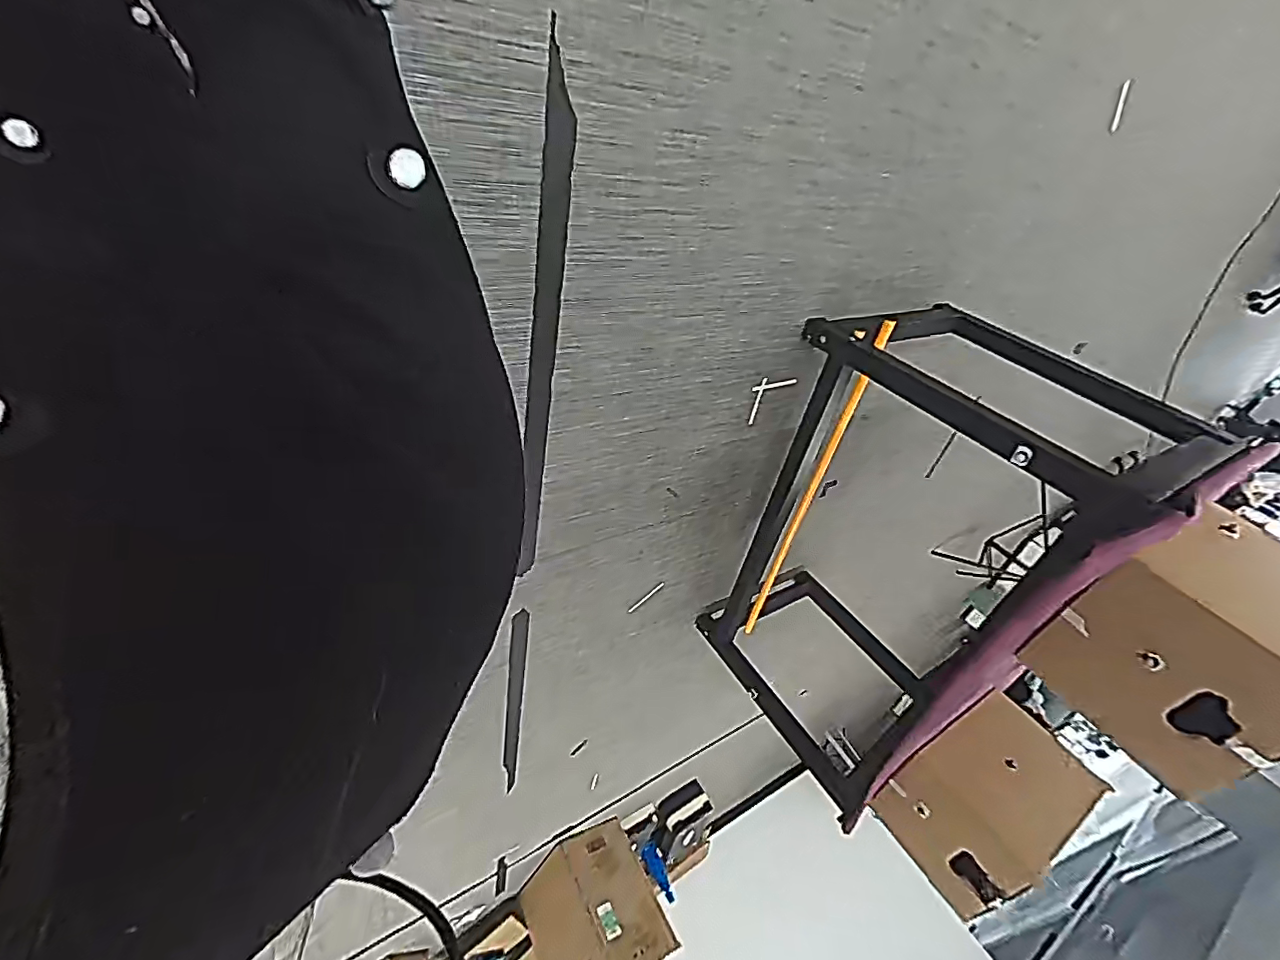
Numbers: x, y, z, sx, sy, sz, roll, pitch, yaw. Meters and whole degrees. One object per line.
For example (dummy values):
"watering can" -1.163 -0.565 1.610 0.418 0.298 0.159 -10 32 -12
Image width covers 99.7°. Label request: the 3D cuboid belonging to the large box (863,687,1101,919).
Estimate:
"large box" 0.880 0.828 1.424 0.408 0.320 0.320 -15 135 -31
